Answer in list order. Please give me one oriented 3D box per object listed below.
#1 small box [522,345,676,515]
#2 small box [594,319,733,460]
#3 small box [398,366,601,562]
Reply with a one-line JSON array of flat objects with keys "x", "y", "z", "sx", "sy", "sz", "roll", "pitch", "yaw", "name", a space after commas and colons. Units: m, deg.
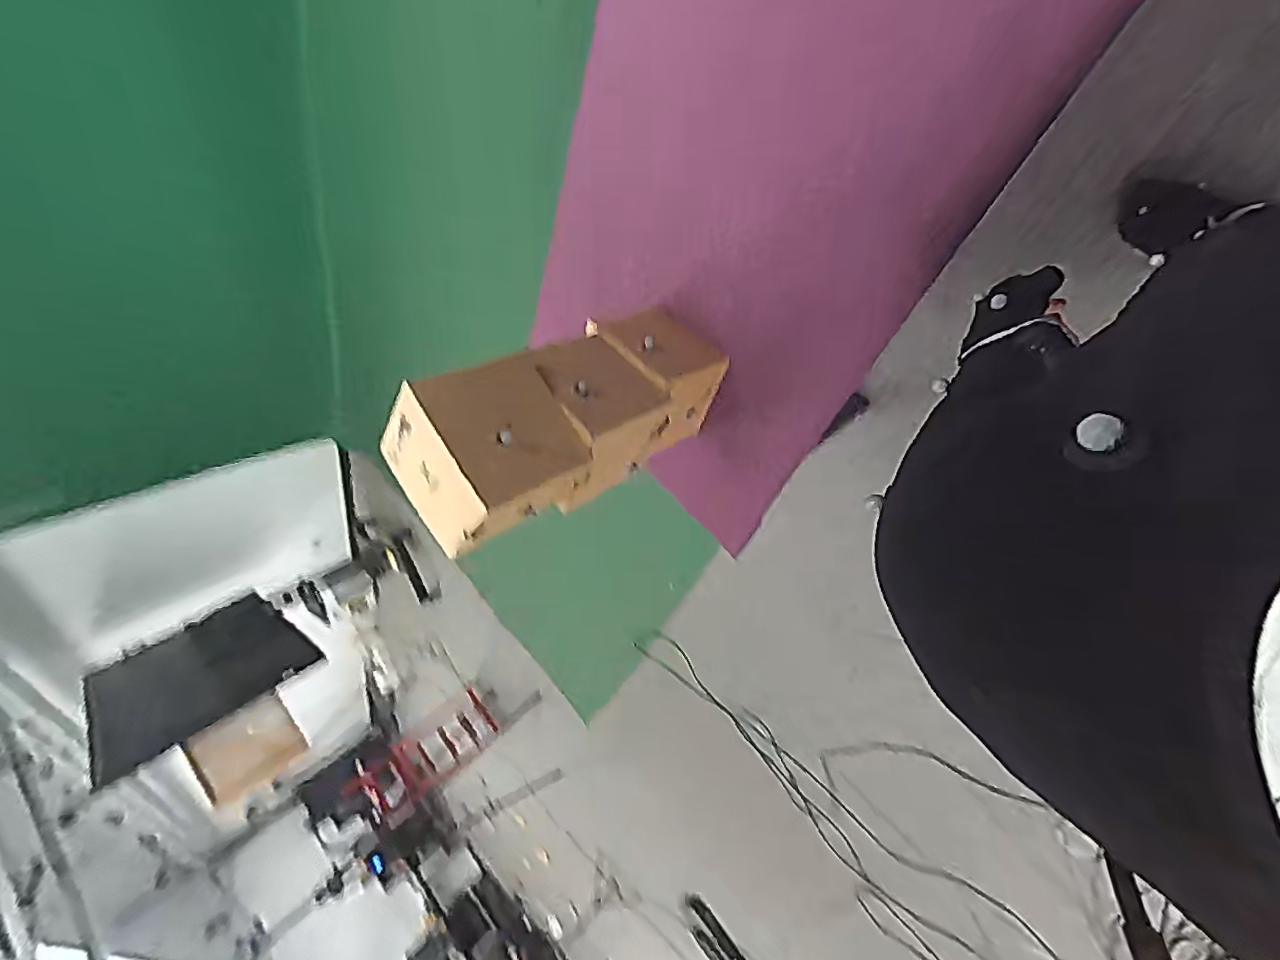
[{"x": -0.074, "y": -0.084, "z": 0.824, "sx": 0.179, "sy": 0.176, "sz": 0.168, "roll": 45, "pitch": 136, "yaw": 17, "name": "small box"}, {"x": 0.025, "y": -0.161, "z": 0.932, "sx": 0.179, "sy": 0.176, "sz": 0.168, "roll": 41, "pitch": 135, "yaw": 20, "name": "small box"}, {"x": -0.183, "y": -0.025, "z": 0.717, "sx": 0.179, "sy": 0.176, "sz": 0.168, "roll": 55, "pitch": 137, "yaw": 3, "name": "small box"}]
